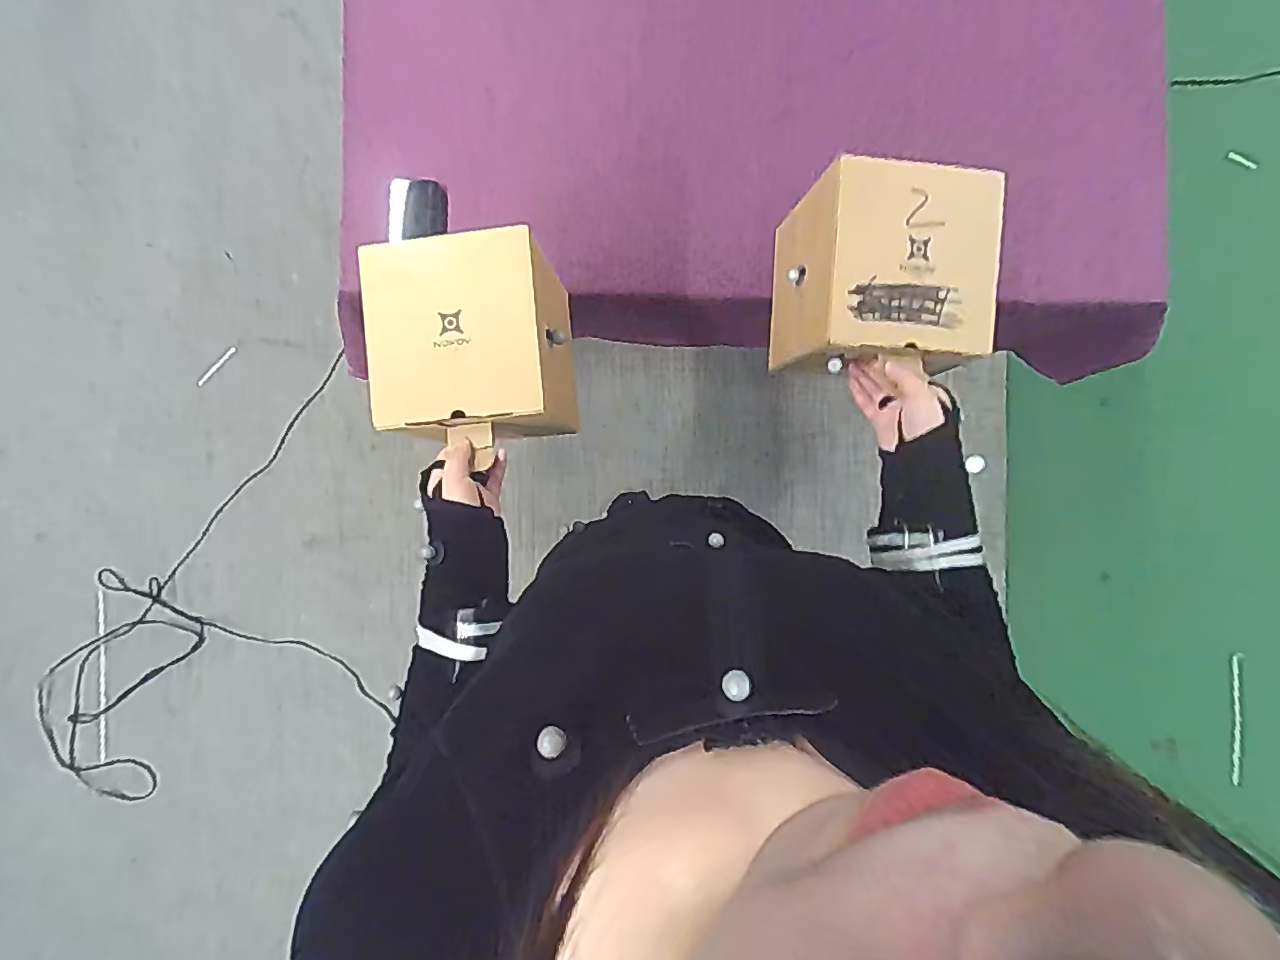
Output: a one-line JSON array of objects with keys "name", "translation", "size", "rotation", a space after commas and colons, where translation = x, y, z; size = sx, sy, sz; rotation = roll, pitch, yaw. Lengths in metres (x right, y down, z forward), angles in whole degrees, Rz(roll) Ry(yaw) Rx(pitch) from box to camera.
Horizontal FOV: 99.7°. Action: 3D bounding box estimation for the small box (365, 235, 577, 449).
[{"name": "small box", "translation": [-0.166, -0.132, 0.579], "size": [0.168, 0.176, 0.179], "rotation": [-5, 89, 4]}]
